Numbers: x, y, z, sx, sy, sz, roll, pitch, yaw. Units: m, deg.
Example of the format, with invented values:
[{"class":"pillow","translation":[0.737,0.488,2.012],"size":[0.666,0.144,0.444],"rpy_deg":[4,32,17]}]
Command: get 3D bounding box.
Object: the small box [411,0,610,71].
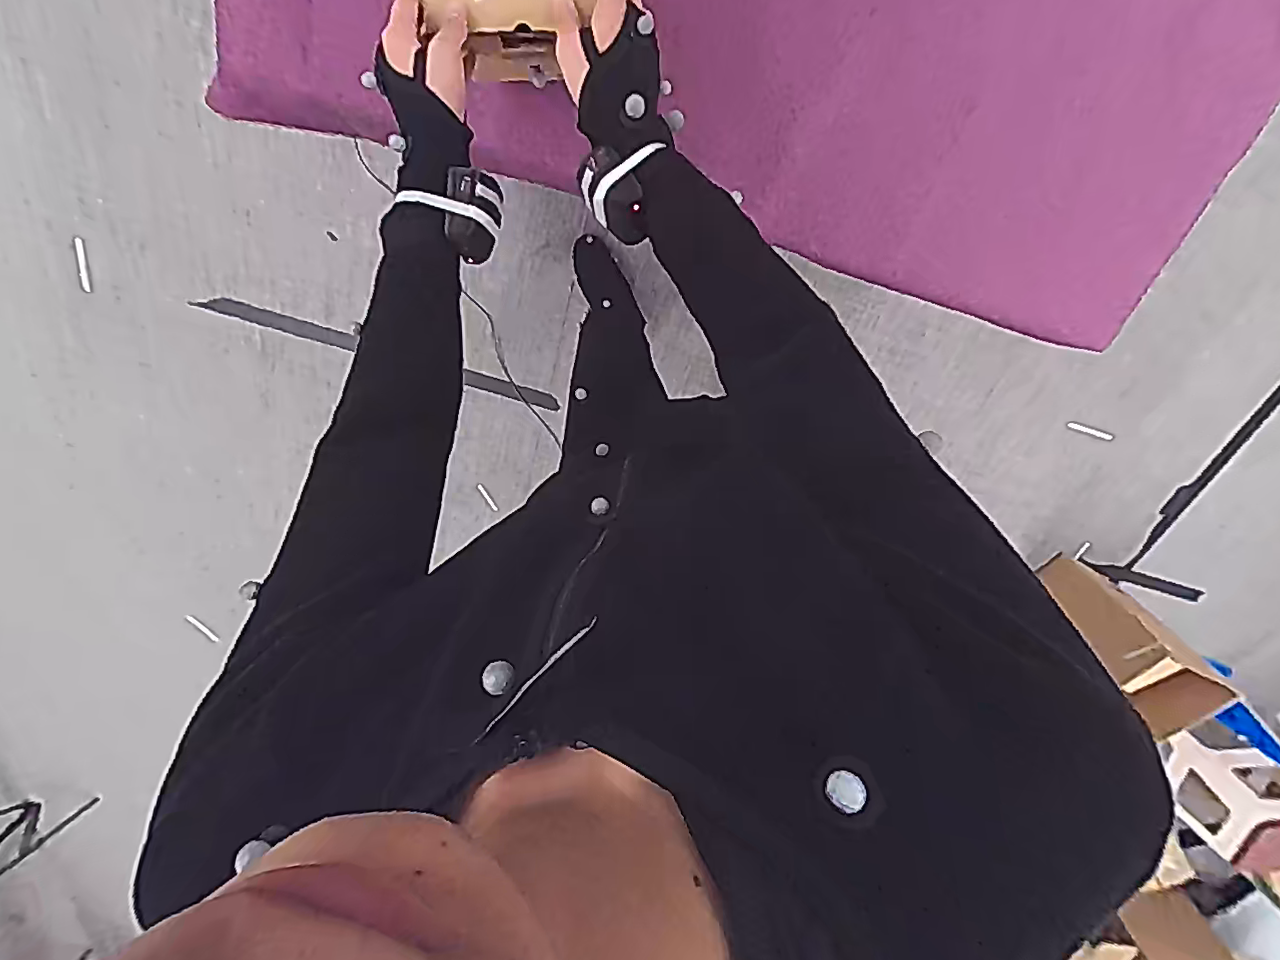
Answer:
[{"class":"small box","translation":[-0.112,-0.501,0.492],"size":[0.168,0.176,0.179],"rpy_deg":[-1,116,-2]}]
